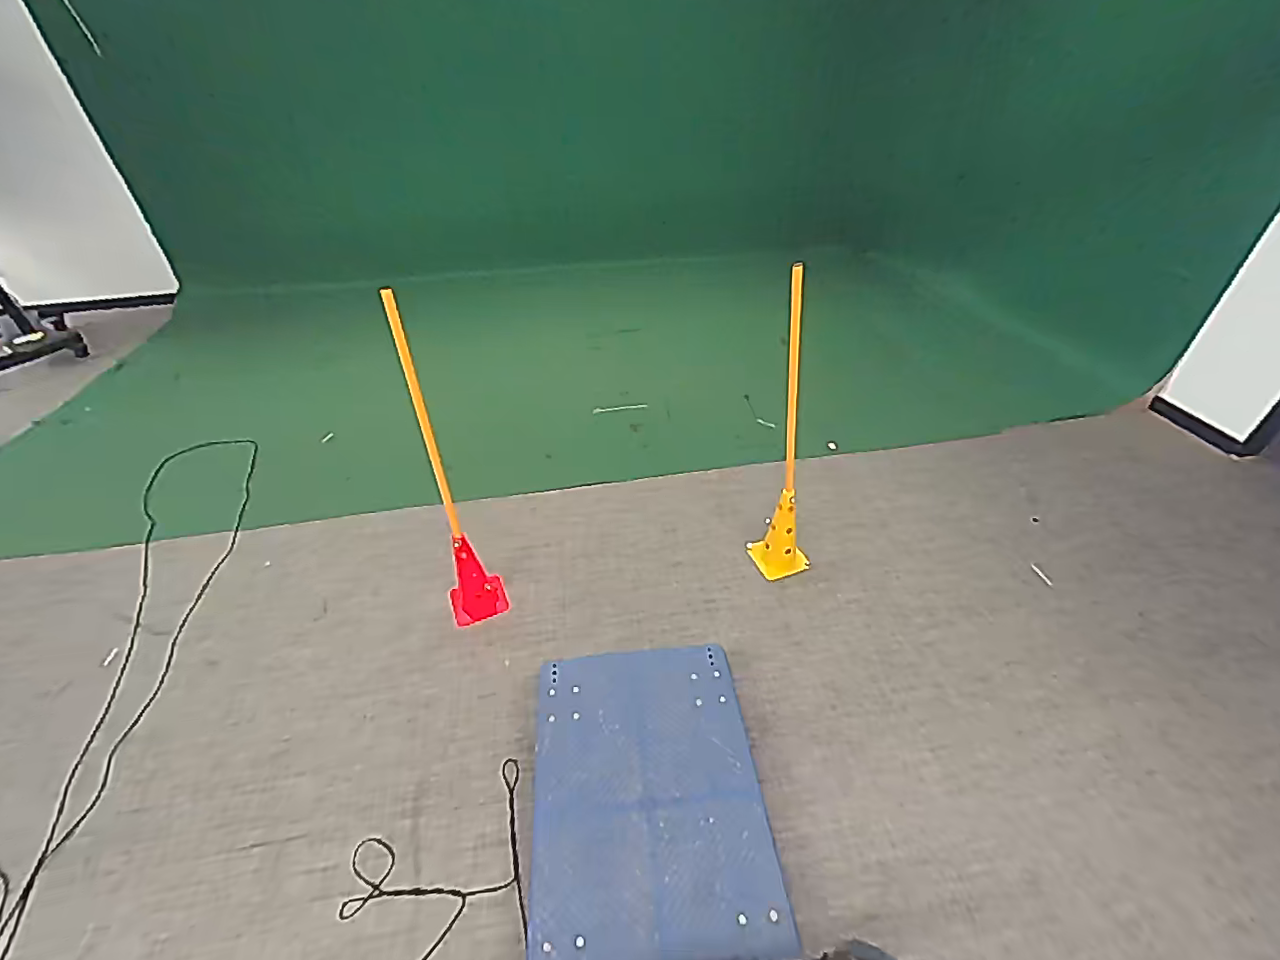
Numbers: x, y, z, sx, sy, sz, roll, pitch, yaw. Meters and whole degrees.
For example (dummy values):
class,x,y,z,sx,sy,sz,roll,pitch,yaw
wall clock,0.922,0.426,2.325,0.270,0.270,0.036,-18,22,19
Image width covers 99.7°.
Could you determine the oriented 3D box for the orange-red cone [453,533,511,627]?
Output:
class,x,y,z,sx,sy,sz,roll,pitch,yaw
orange-red cone,-0.614,0.331,1.955,0.199,0.360,0.198,-18,41,-16
